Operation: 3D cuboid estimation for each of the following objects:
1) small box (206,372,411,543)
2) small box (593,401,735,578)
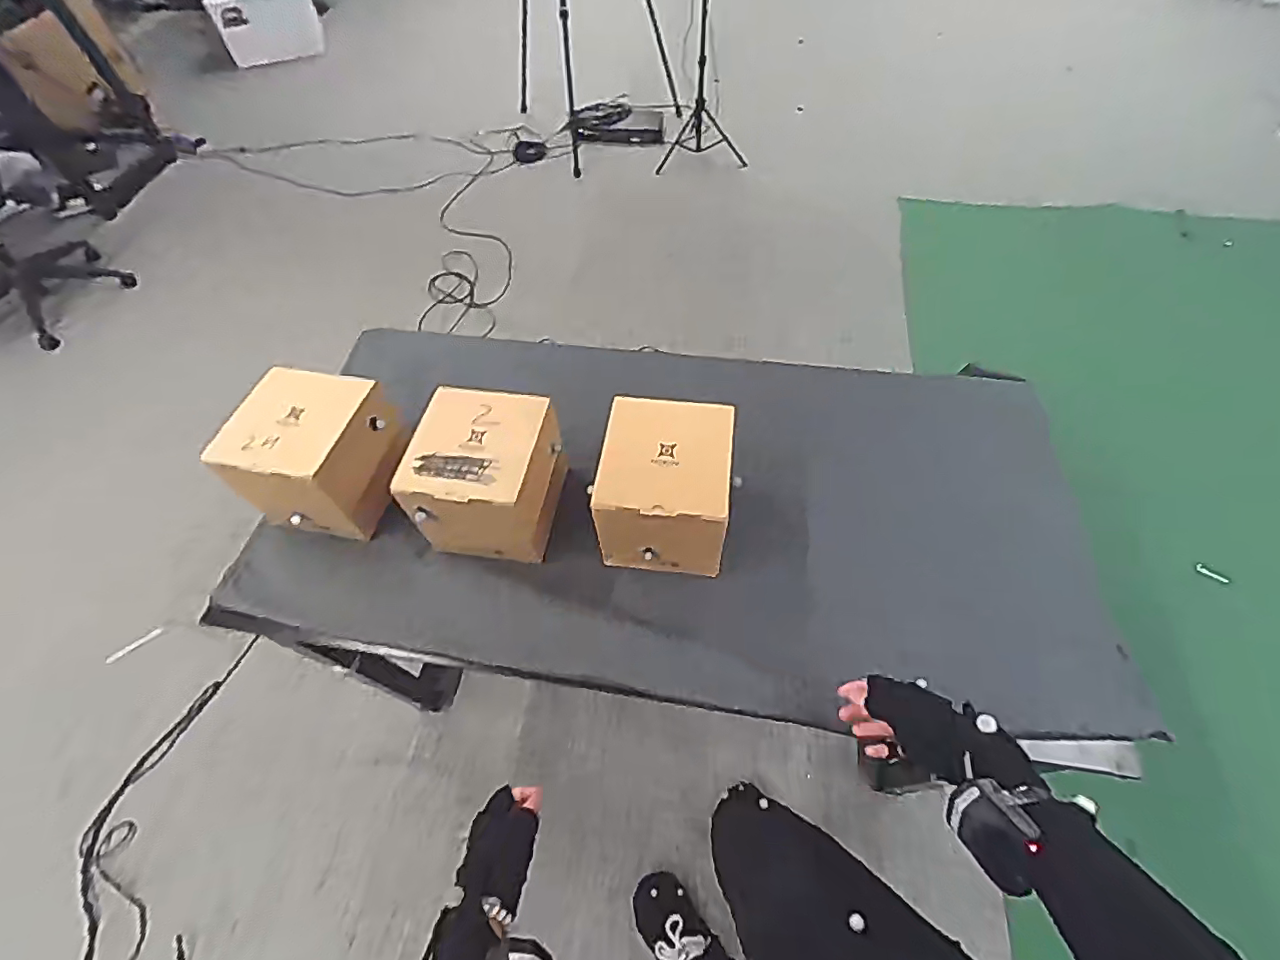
[{"bbox_3d":[-0.467,-0.032,0.802,0.168,0.176,0.179,9,56,8],"label":"small box"},{"bbox_3d":[0.037,0.016,0.752,0.168,0.176,0.179,5,58,6],"label":"small box"}]
